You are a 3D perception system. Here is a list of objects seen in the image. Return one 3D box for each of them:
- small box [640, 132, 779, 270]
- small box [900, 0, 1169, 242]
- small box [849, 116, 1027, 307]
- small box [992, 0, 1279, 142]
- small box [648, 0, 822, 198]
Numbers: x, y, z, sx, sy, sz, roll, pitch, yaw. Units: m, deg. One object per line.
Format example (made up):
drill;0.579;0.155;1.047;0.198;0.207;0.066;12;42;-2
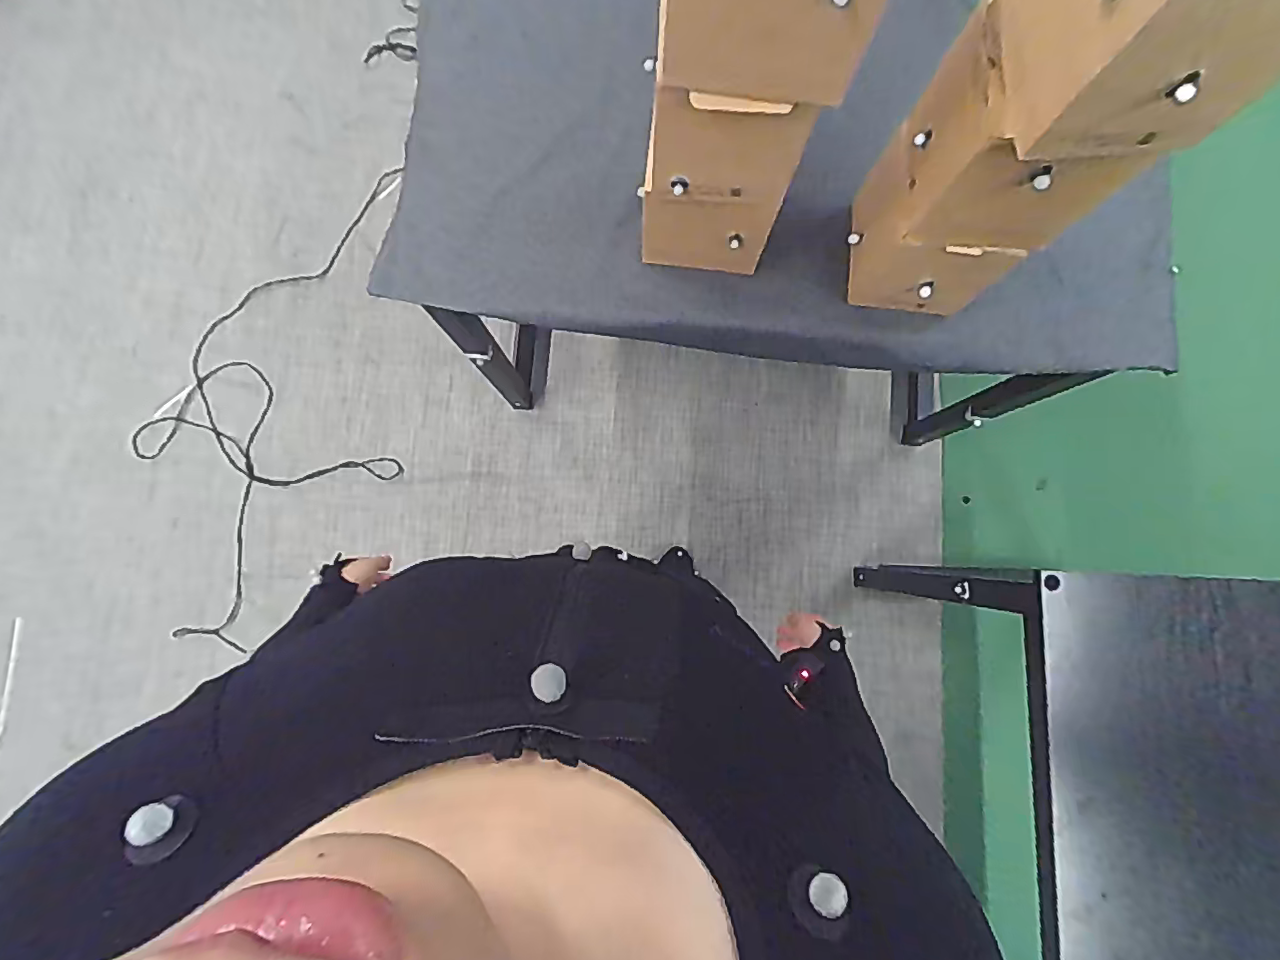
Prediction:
small box;0.095;-0.420;0.767;0.179;0.176;0.168;6;81;2
small box;0.414;-0.385;0.594;0.179;0.176;0.168;4;81;2
small box;0.405;-0.361;0.756;0.168;0.176;0.179;6;82;2
small box;0.421;-0.400;0.430;0.168;0.176;0.179;-4;81;0
small box;0.095;-0.446;0.605;0.168;0.176;0.179;3;80;0
